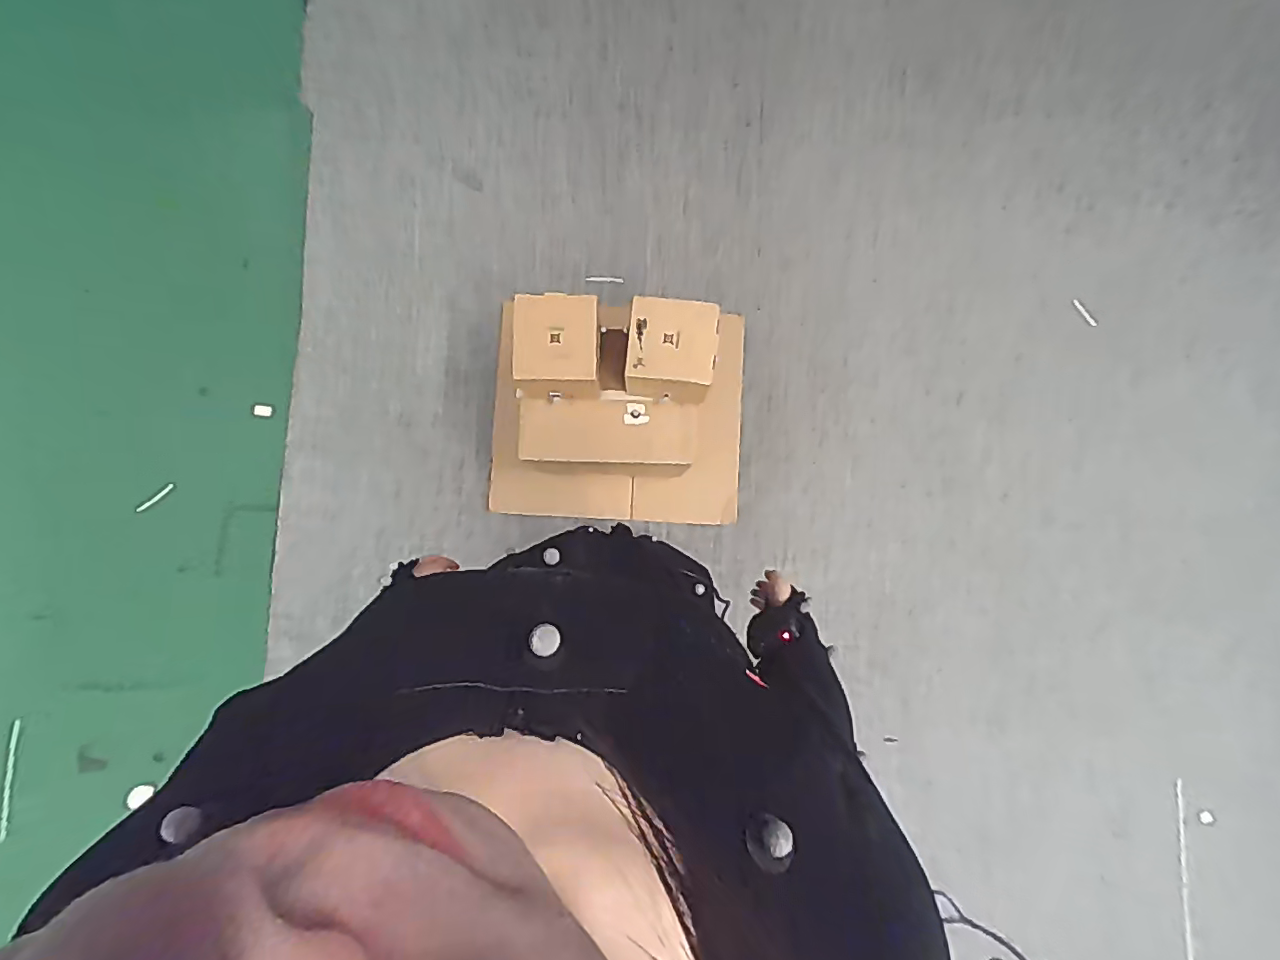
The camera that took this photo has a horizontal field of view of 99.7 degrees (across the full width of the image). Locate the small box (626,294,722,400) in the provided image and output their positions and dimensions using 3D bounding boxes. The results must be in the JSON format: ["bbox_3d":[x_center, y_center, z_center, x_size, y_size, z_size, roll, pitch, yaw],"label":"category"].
[{"bbox_3d":[0.066,-0.271,1.139,0.179,0.176,0.168,7,86,0],"label":"small box"}]

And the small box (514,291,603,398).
[{"bbox_3d":[-0.165,-0.279,1.138,0.168,0.176,0.179,-1,85,-1],"label":"small box"}]

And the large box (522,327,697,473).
[{"bbox_3d":[-0.075,-0.187,1.377,0.408,0.320,0.320,1,86,-2],"label":"large box"}]
